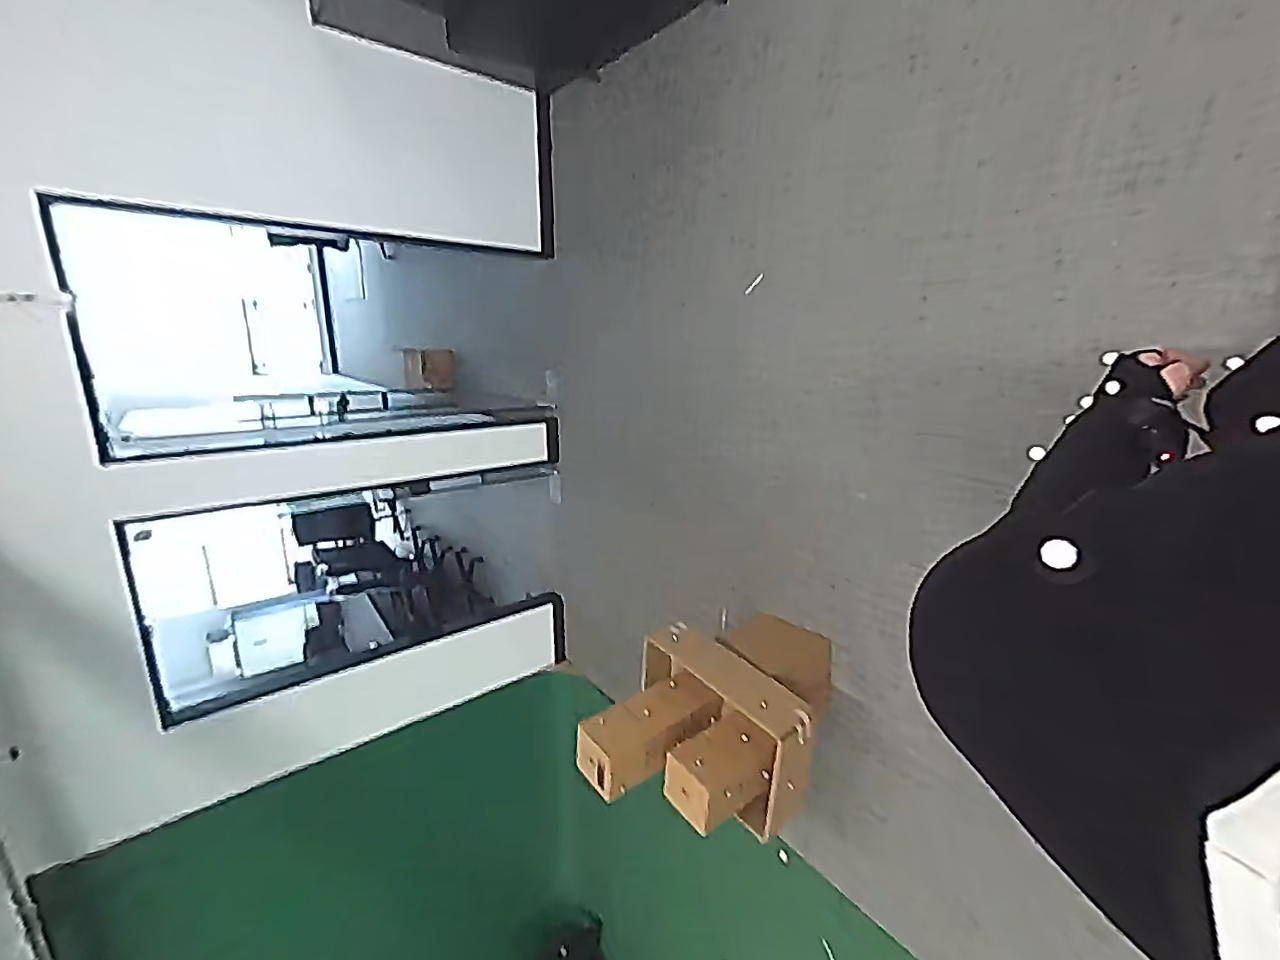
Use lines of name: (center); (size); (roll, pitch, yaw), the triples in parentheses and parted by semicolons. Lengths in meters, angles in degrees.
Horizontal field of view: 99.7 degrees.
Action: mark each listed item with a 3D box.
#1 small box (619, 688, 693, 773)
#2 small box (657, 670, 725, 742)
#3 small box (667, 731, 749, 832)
small box: (0.052, 0.821, 1.801); (0.179, 0.176, 0.168); (20, 113, 46)
small box: (0.175, 0.795, 1.904); (0.179, 0.176, 0.168); (21, 115, 46)
small box: (0.203, 0.889, 1.616); (0.179, 0.176, 0.168); (23, 116, 48)
